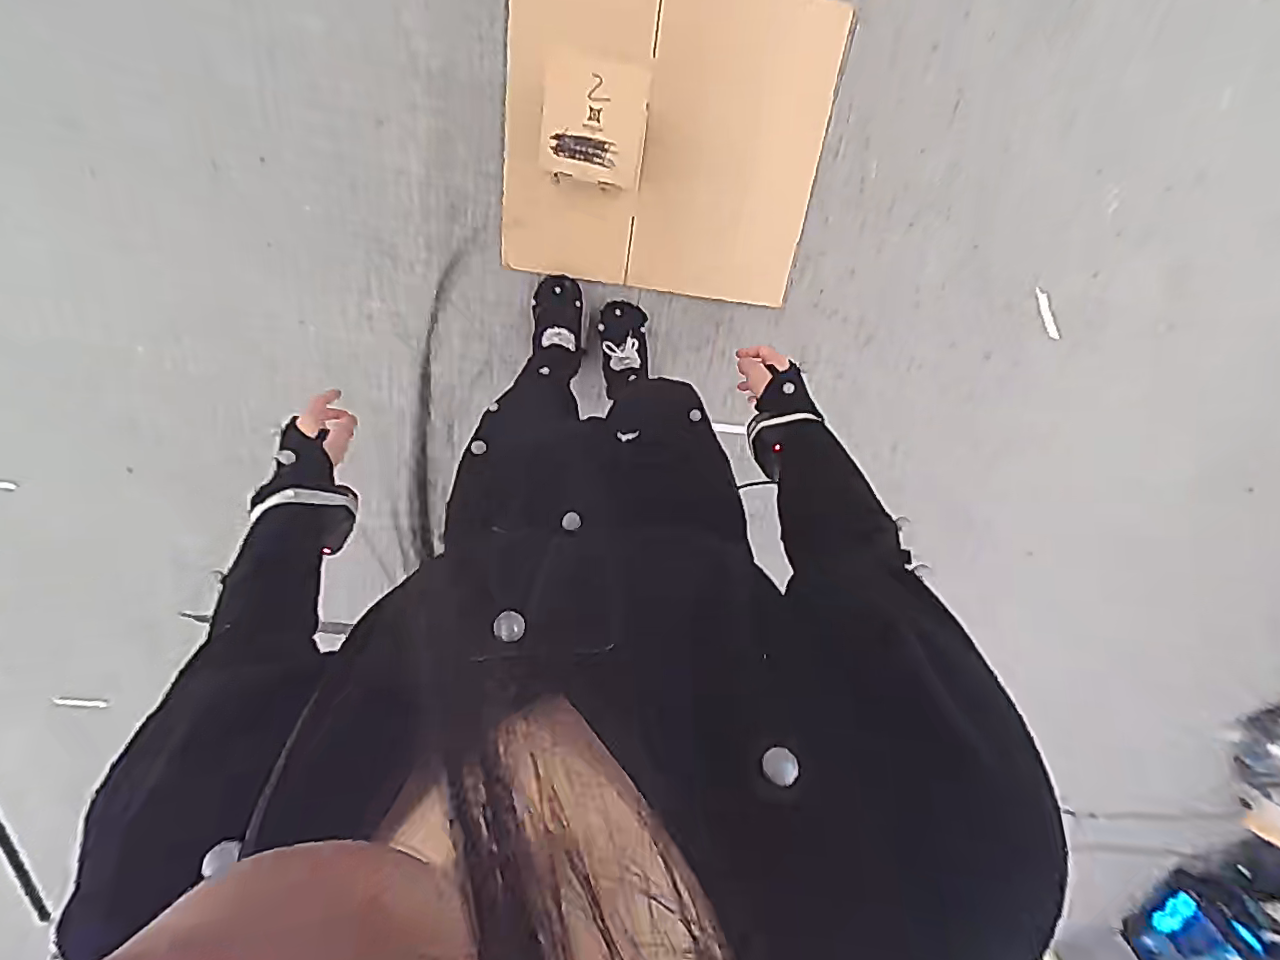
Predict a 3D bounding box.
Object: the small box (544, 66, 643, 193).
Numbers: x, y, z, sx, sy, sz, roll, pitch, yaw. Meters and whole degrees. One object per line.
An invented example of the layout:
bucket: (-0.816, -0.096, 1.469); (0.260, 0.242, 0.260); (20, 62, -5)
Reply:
small box: (-0.098, -0.702, 1.108); (0.168, 0.176, 0.179); (9, 114, -11)
